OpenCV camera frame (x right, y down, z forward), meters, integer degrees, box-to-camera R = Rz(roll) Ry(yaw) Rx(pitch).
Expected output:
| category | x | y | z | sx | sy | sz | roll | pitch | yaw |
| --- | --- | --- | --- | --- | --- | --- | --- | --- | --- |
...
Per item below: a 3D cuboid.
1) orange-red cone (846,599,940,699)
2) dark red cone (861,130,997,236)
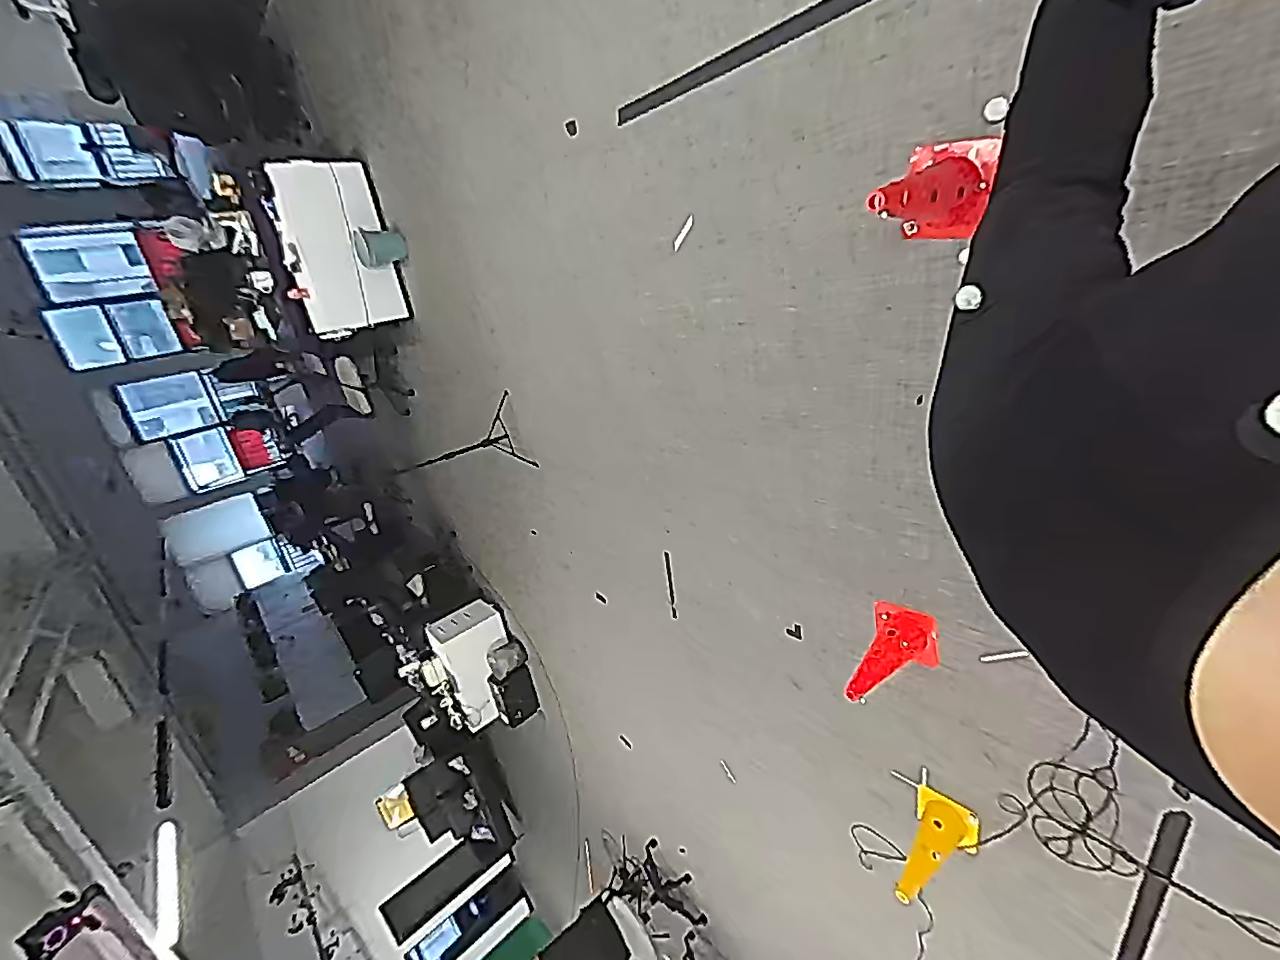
| category | x | y | z | sx | sy | sz | roll | pitch | yaw |
| --- | --- | --- | --- | --- | --- | --- | --- | --- | --- |
| orange-red cone | 0.753 | 0.561 | 1.678 | 0.198 | 0.360 | 0.199 | 13 | 122 | 49 |
| dark red cone | 0.572 | -0.606 | 1.133 | 0.201 | 0.394 | 0.202 | 21 | 127 | 43 |
